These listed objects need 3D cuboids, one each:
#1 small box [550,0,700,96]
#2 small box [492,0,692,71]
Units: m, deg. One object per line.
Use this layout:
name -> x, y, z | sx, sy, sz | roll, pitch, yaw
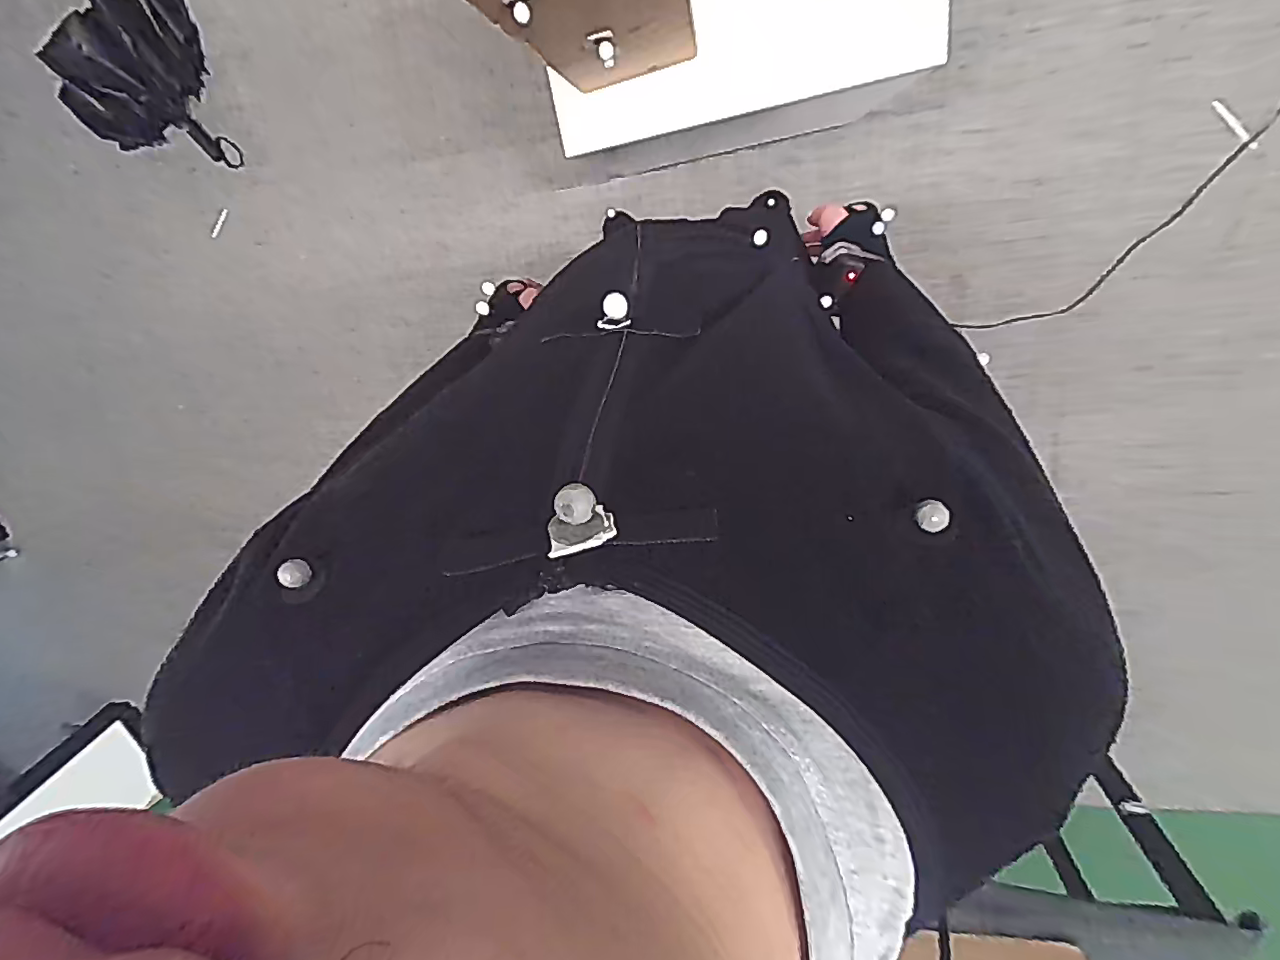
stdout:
small box -> -0.027, -0.580, 0.625 | 0.168, 0.176, 0.179 | -8, 115, 13
small box -> -0.053, -0.507, 0.480 | 0.168, 0.176, 0.179 | -10, 115, 14
